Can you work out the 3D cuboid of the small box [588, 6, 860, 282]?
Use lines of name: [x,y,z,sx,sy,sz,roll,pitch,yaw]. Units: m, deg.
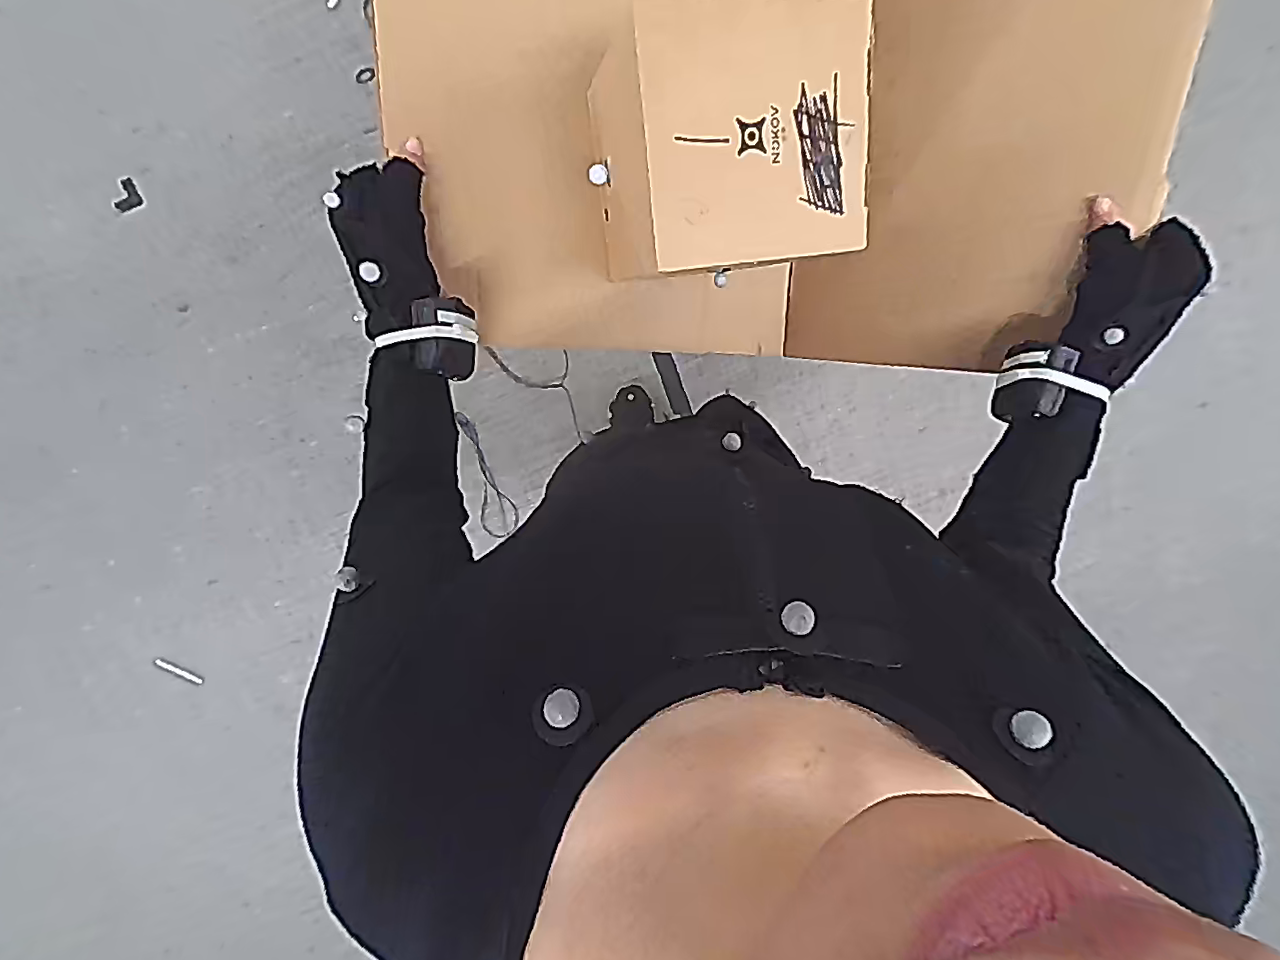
small box: [0.063,-0.269,0.468,0.179,0.176,0.168,-11,109,-11]
